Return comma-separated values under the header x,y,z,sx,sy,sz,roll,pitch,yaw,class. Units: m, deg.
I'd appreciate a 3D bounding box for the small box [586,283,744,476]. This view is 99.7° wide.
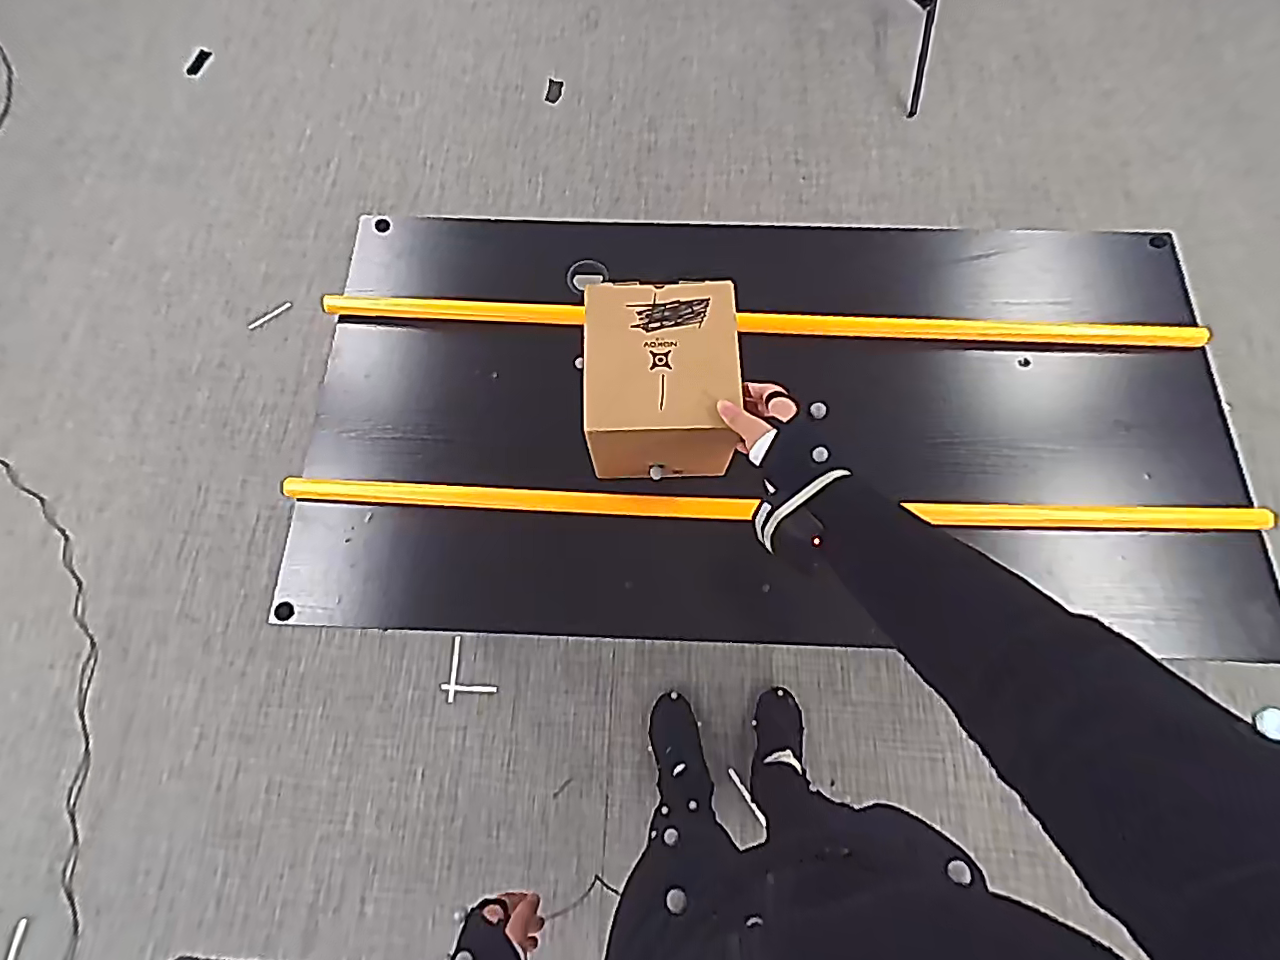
x,y,z,sx,sy,sz,roll,pitch,yaw,class
0.025,-0.112,0.654,0.168,0.176,0.179,-1,74,1,small box
